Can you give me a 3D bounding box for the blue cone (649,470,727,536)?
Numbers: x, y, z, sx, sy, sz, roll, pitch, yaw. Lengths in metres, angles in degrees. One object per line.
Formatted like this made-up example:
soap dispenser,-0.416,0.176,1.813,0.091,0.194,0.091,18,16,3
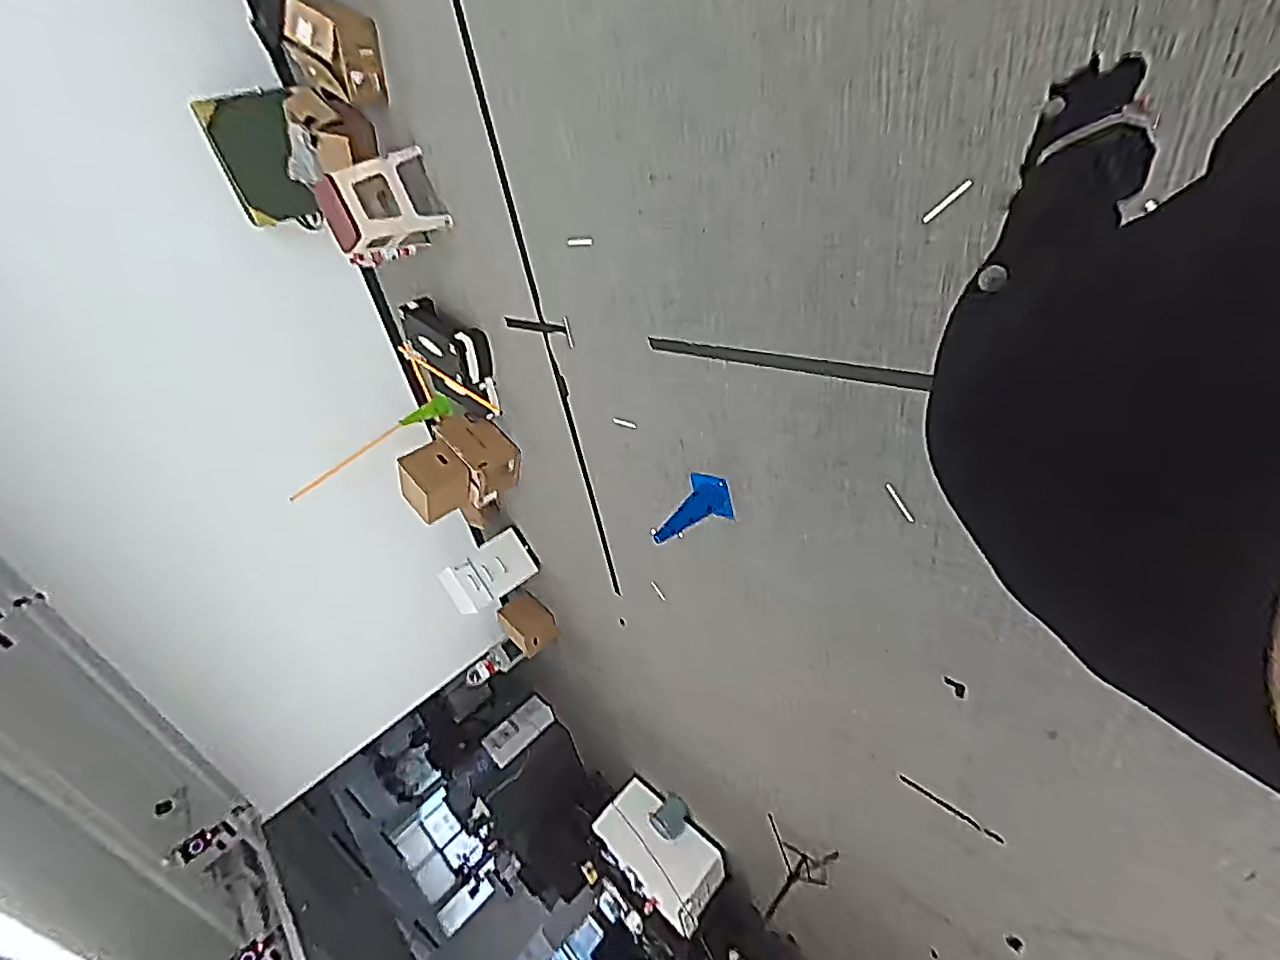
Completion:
blue cone,0.180,0.129,2.239,0.193,0.380,0.192,16,130,45
